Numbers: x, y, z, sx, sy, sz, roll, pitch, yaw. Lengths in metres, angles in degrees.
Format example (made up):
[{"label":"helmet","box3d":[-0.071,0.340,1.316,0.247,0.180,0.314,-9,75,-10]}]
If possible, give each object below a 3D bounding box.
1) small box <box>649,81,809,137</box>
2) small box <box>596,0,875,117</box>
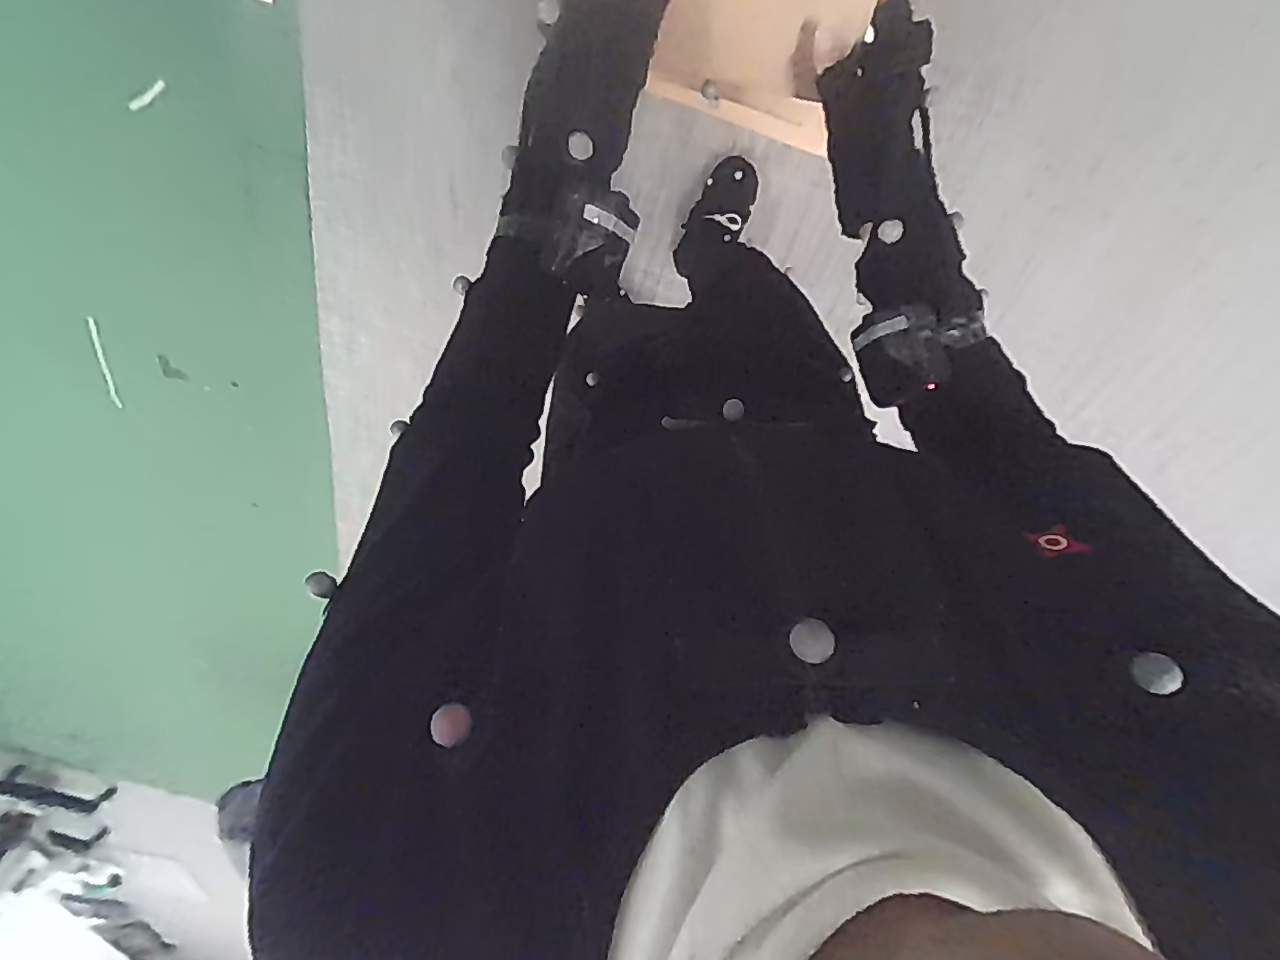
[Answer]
[{"label":"small box","box3d":[0.118,-0.497,0.579,0.179,0.176,0.168,17,127,-5]},{"label":"small box","box3d":[0.071,-0.383,0.383,0.179,0.176,0.168,8,134,-3]}]
